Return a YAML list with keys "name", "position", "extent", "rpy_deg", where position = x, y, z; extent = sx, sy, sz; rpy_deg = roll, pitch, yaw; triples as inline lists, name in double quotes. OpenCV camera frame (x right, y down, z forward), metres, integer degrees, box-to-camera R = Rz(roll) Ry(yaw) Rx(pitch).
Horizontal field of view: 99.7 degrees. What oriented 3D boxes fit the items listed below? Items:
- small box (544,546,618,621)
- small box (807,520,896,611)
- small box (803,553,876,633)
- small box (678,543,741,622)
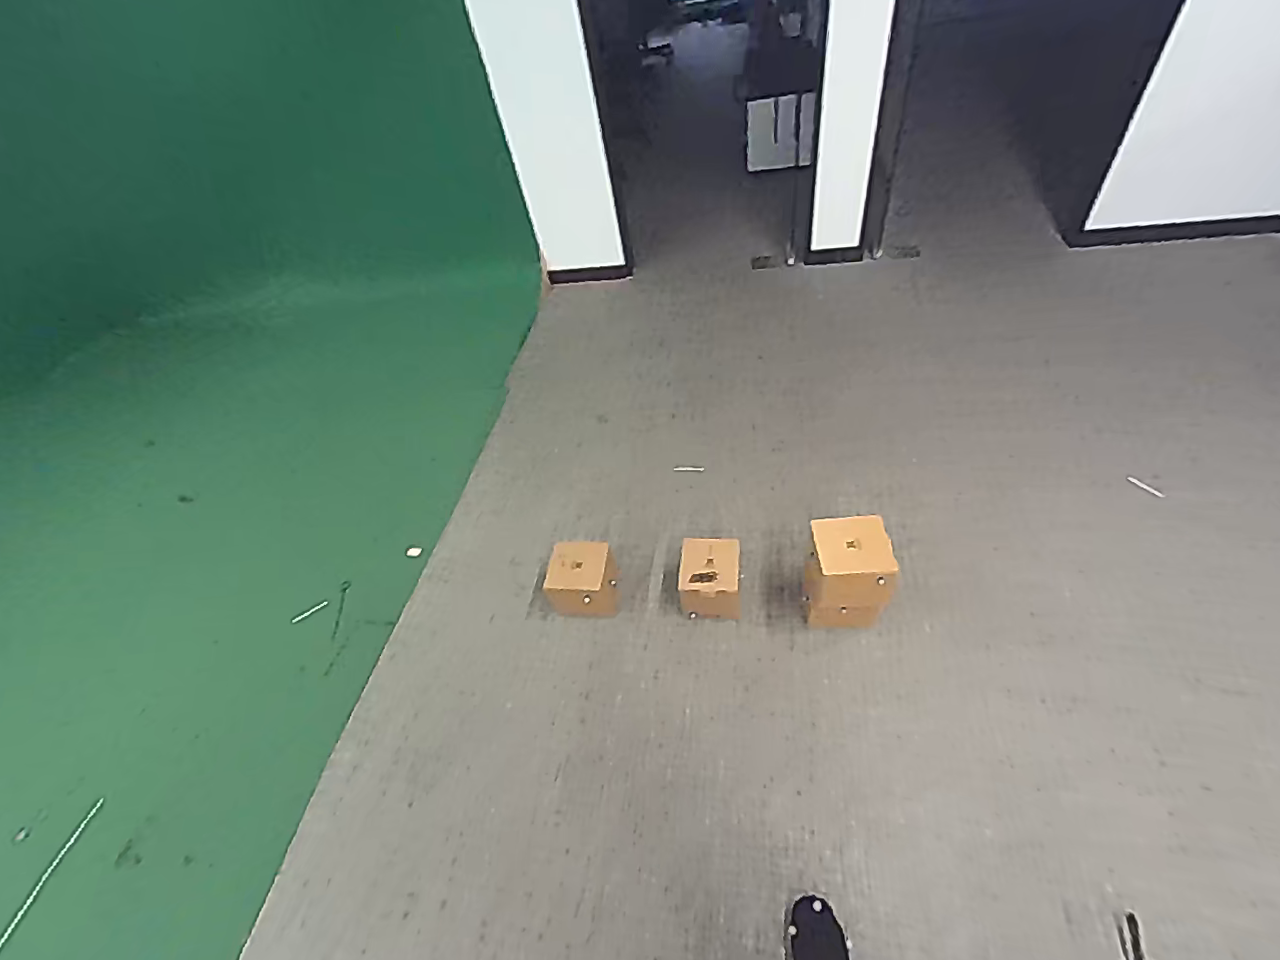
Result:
- name: "small box"
  position: [-0.172, 0.321, 1.665]
  extent: [0.179, 0.176, 0.168]
  rpy_deg: [0, 48, 12]
- name: "small box"
  position: [0.529, 0.222, 1.382]
  extent: [0.179, 0.176, 0.168]
  rpy_deg: [-5, 49, 7]
- name: "small box"
  position: [0.554, 0.316, 1.512]
  extent: [0.179, 0.176, 0.168]
  rpy_deg: [-1, 50, 10]
- name: "small box"
  position: [0.210, 0.304, 1.596]
  extent: [0.168, 0.176, 0.179]
  rpy_deg: [0, 48, 12]
